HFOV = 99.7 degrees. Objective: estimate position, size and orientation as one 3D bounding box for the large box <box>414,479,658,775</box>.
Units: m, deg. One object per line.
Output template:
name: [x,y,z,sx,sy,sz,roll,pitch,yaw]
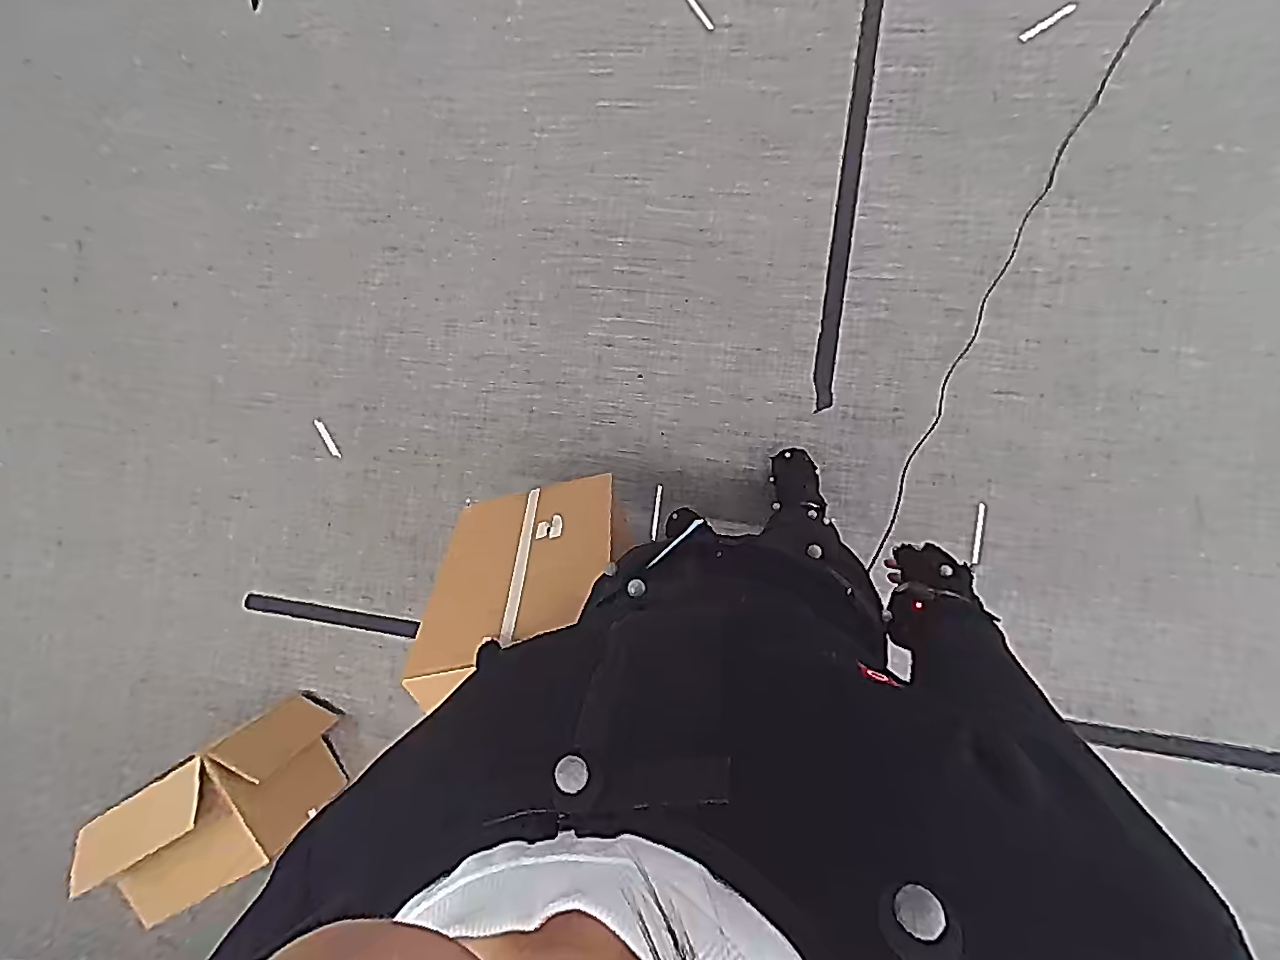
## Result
large box: [-0.157,0.260,1.010,0.320,0.408,0.320,-11,125,6]
